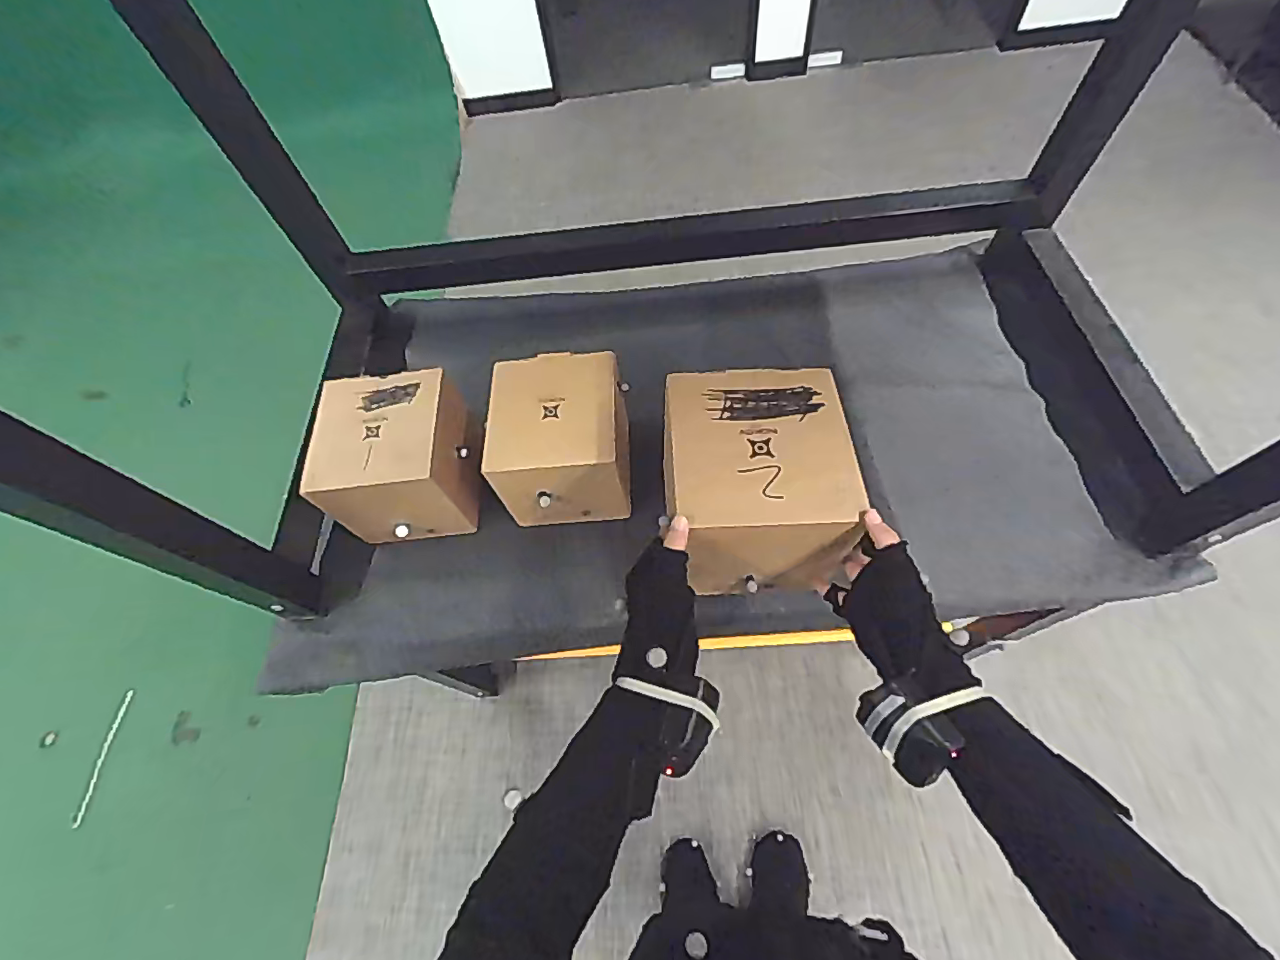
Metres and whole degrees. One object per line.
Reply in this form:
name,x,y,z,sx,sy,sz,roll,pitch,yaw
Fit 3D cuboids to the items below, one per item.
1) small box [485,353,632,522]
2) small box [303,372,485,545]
small box,-0.103,-0.050,0.757,0.168,0.176,0.179,-5,60,4
small box,-0.329,-0.025,0.765,0.168,0.176,0.179,-7,61,3
